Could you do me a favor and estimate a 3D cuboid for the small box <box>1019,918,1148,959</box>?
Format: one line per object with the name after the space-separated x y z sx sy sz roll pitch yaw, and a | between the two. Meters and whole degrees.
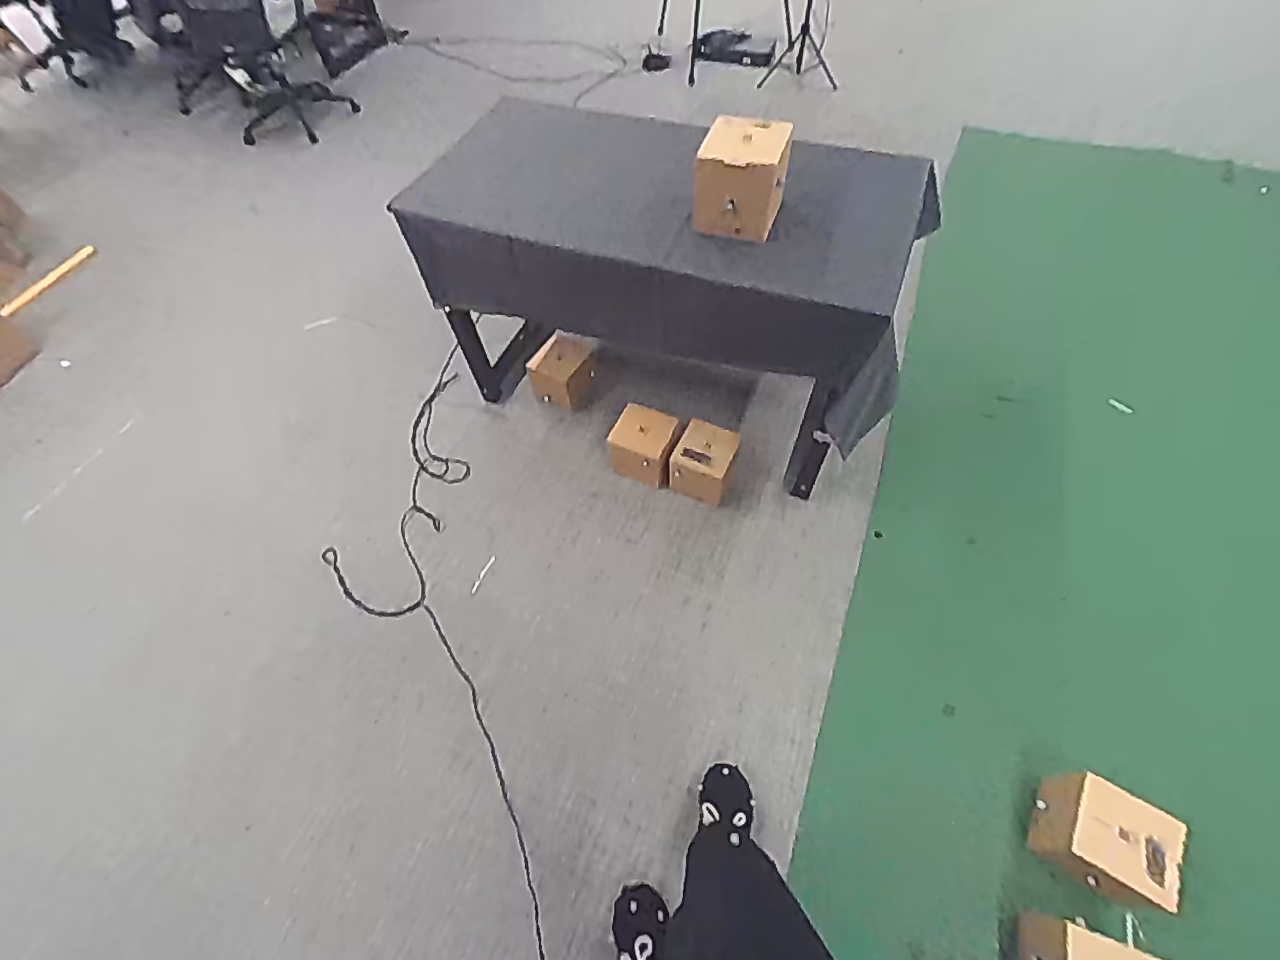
0.818 0.933 0.983 0.179 0.176 0.168 17 60 13 | small box

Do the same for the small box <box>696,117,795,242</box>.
0.223 -0.647 1.171 0.168 0.176 0.179 16 60 13 | small box

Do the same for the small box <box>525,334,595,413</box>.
-0.270 -0.368 1.878 0.168 0.176 0.179 25 61 19 | small box

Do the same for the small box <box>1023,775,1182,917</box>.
0.936 0.738 1.106 0.179 0.176 0.168 28 62 20 | small box
